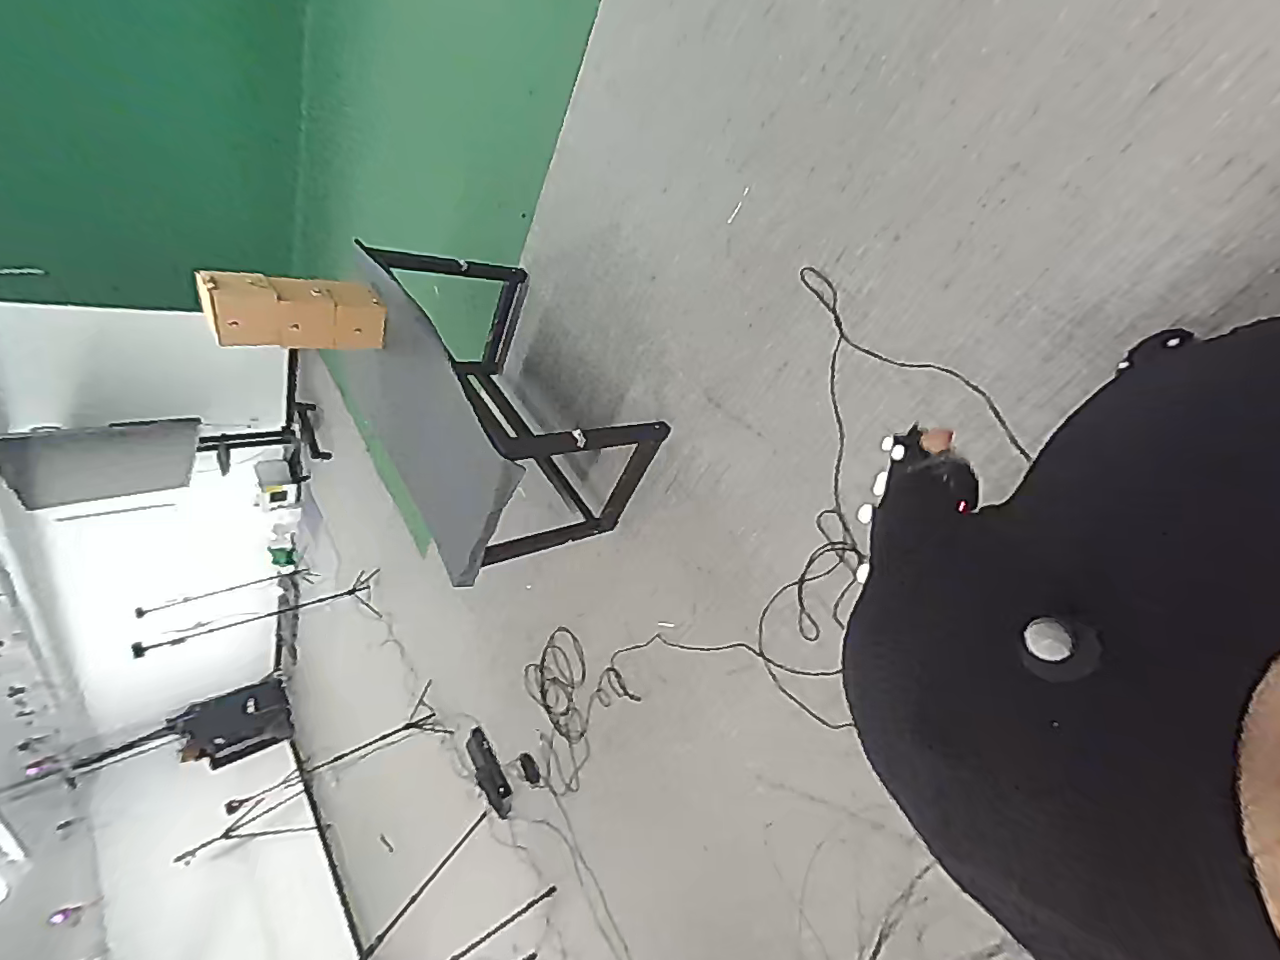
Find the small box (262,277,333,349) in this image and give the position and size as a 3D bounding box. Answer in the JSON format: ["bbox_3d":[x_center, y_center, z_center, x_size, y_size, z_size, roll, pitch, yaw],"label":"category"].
[{"bbox_3d":[-1.151,-0.559,1.821,0.168,0.176,0.179,45,128,27],"label":"small box"}]

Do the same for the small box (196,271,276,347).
[{"bbox_3d":[-1.266,-0.536,1.704,0.168,0.176,0.179,42,128,28],"label":"small box"}]

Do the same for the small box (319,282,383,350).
[{"bbox_3d":[-1.039,-0.586,1.935,0.168,0.176,0.179,49,132,25],"label":"small box"}]
